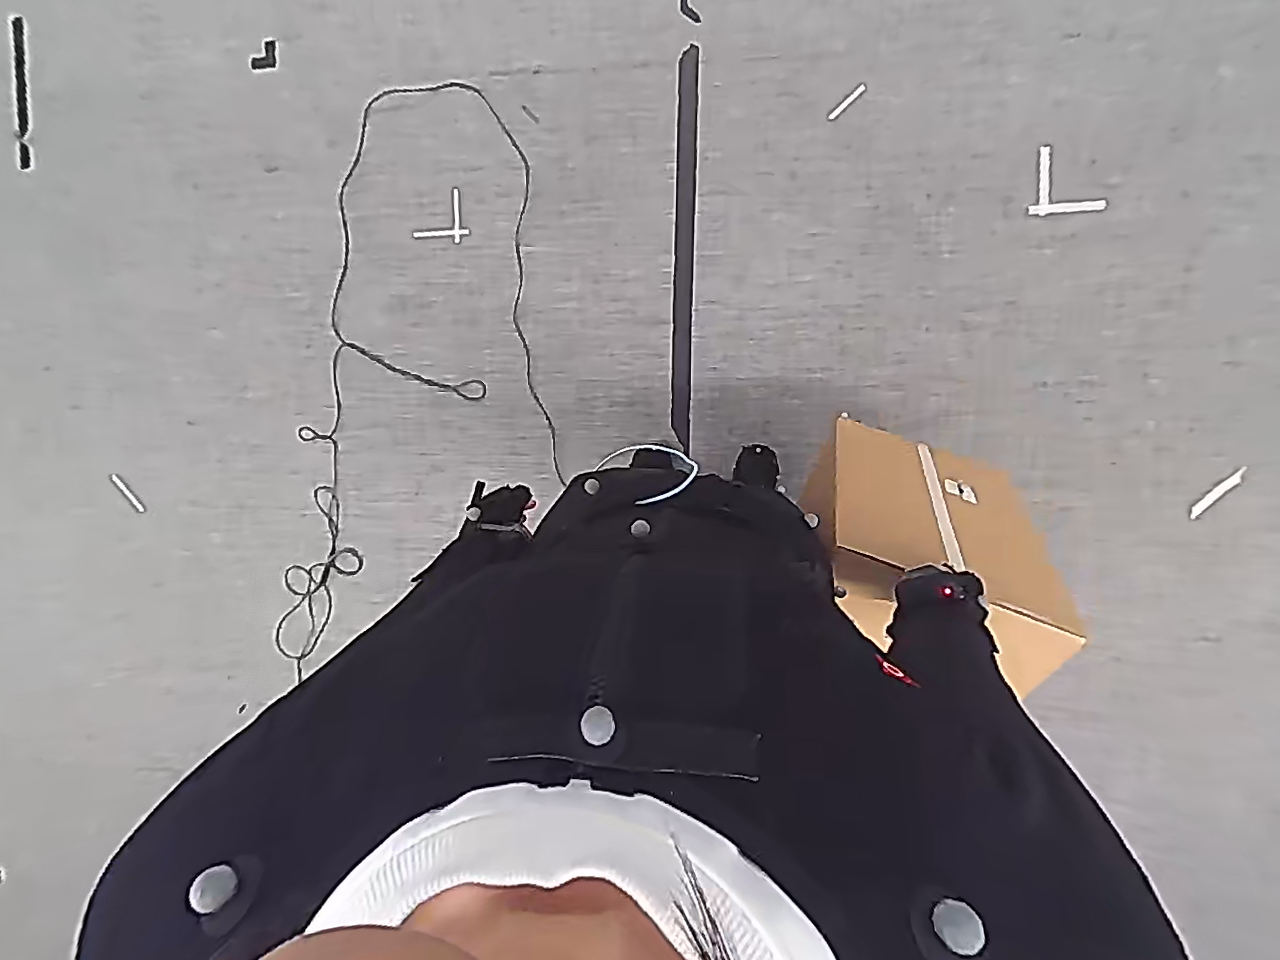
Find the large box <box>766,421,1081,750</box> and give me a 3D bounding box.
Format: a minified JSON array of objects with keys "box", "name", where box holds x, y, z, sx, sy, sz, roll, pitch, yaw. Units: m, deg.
[{"box":[0.421,0.155,0.921,0.320,0.408,0.320,21,124,7],"name":"large box"}]
